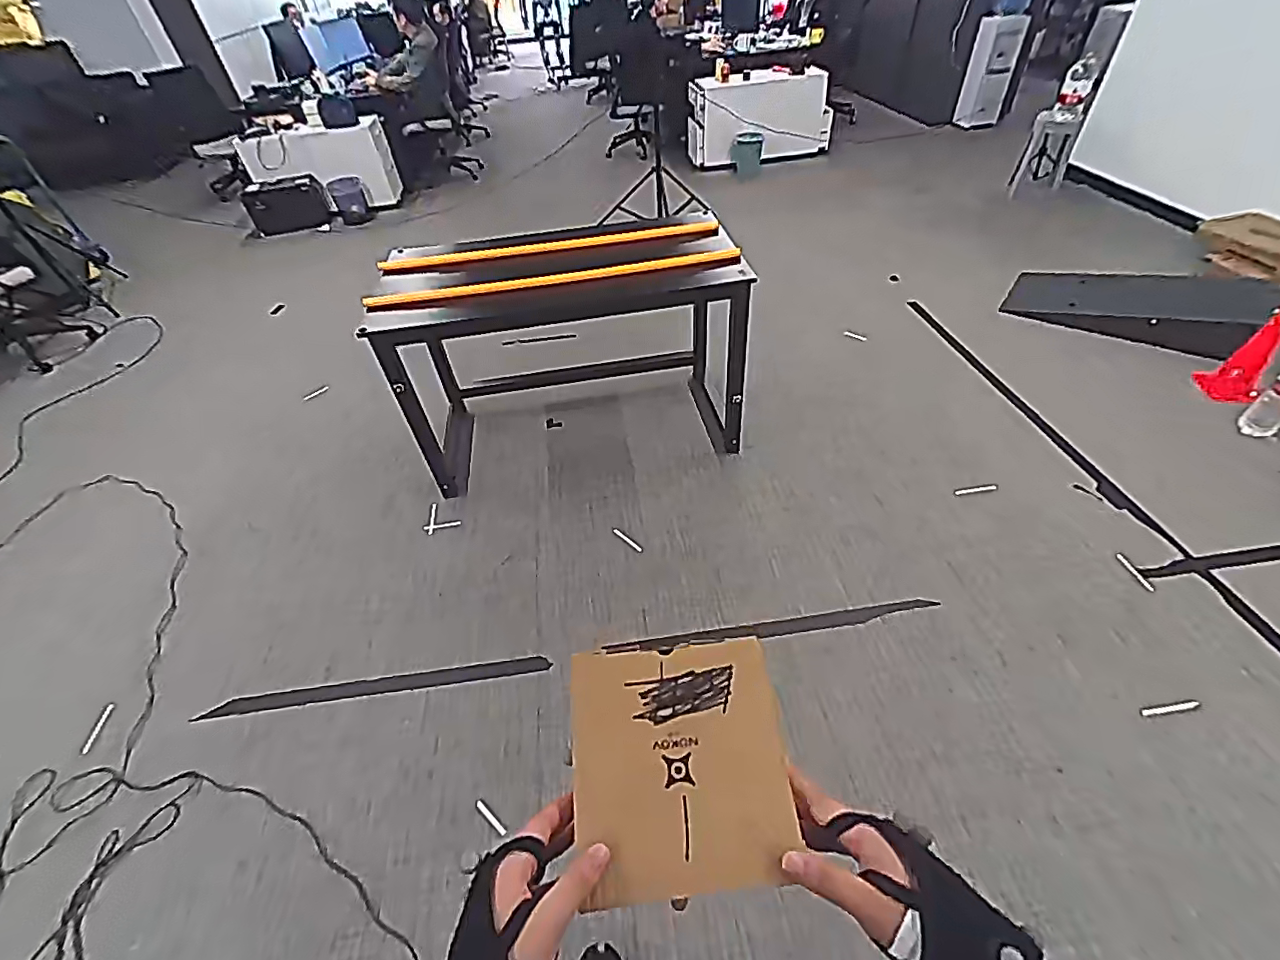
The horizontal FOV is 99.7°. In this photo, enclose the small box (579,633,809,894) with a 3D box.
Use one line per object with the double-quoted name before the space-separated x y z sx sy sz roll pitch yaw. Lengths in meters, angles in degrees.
"small box" 0.033 0.257 0.494 0.168 0.176 0.179 -5 57 -2
